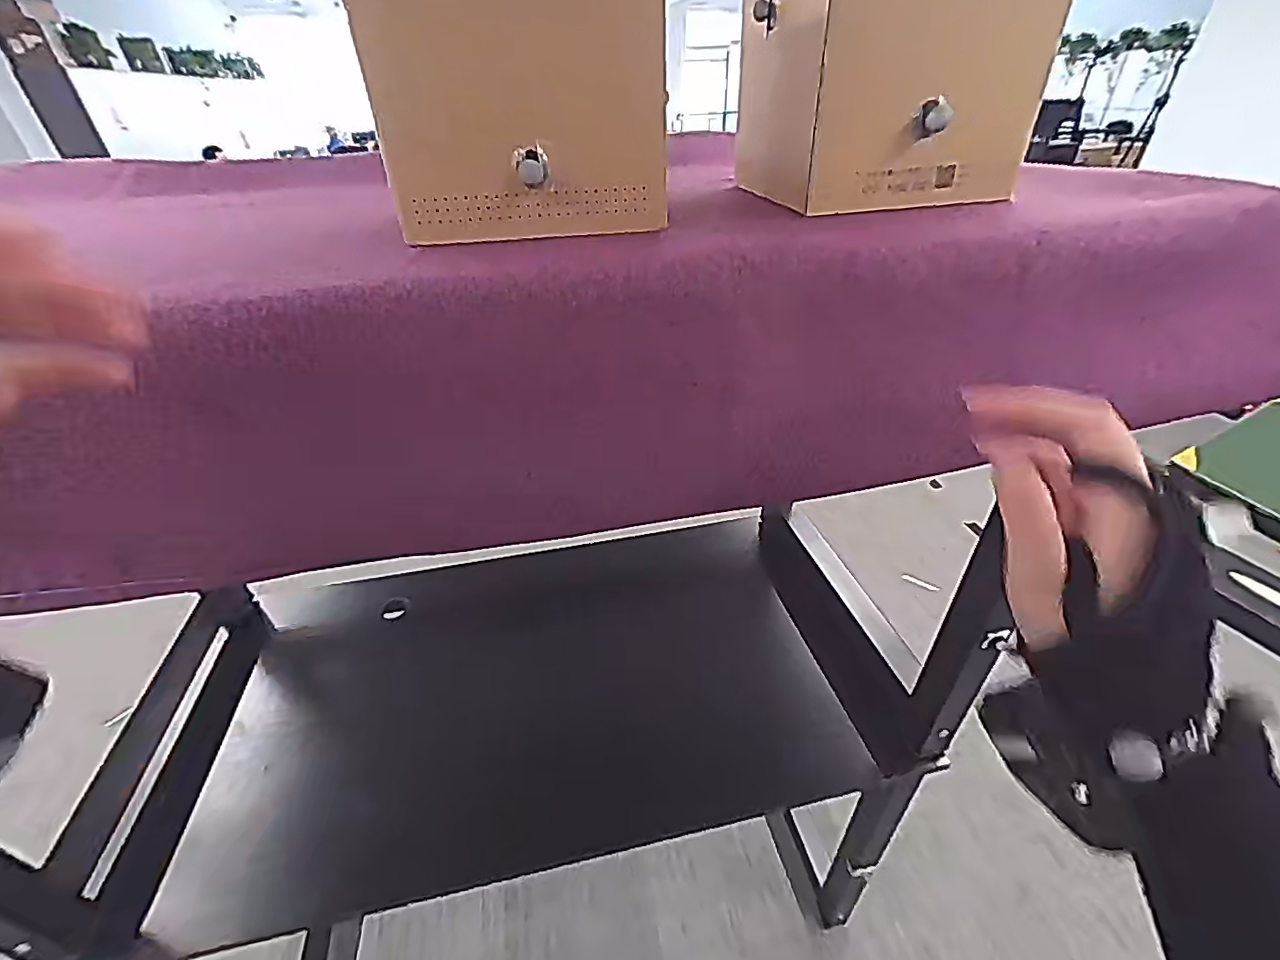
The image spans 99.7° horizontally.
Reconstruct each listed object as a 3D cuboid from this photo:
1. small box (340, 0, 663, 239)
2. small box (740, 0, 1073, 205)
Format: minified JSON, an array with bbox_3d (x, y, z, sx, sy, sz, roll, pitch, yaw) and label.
[{"bbox_3d":[-0.081,-0.274,0.374,0.179,0.176,0.168,-6,35,-6],"label":"small box"},{"bbox_3d":[0.181,-0.316,0.417,0.168,0.176,0.179,-7,35,-6],"label":"small box"}]
